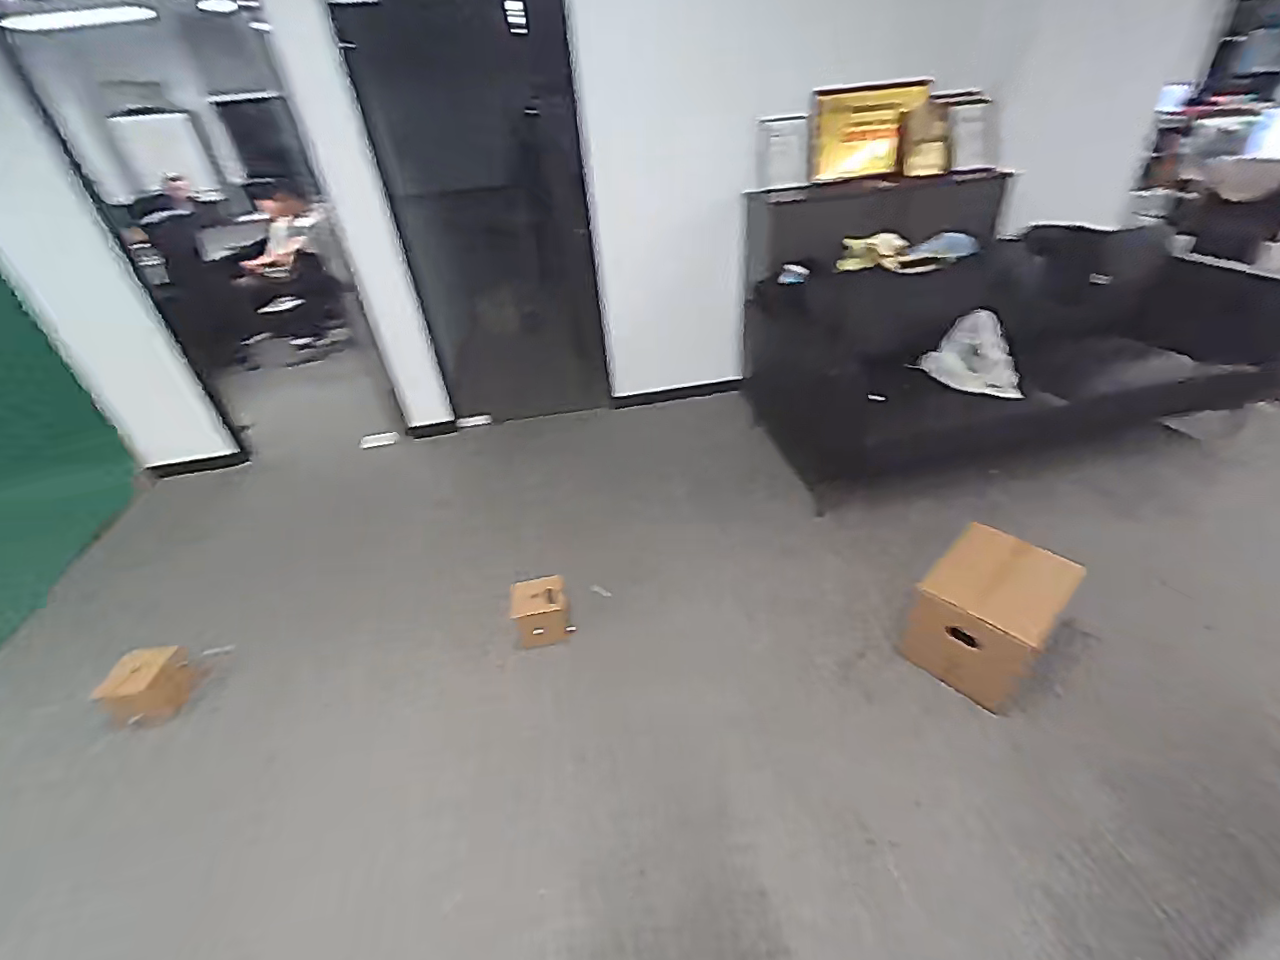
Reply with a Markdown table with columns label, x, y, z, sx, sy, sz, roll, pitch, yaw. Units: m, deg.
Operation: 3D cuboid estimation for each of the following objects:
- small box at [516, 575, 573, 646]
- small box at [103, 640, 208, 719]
| label | x | y | z | sx | sy | sz | roll | pitch | yaw |
| --- | --- | --- | --- | --- | --- | --- | --- | --- | --- |
| small box | -0.333 | 0.463 | 1.917 | 0.179 | 0.176 | 0.168 | -9 | 35 | -4 |
| small box | -1.582 | 0.657 | 1.786 | 0.168 | 0.176 | 0.179 | -6 | 35 | -1 |
